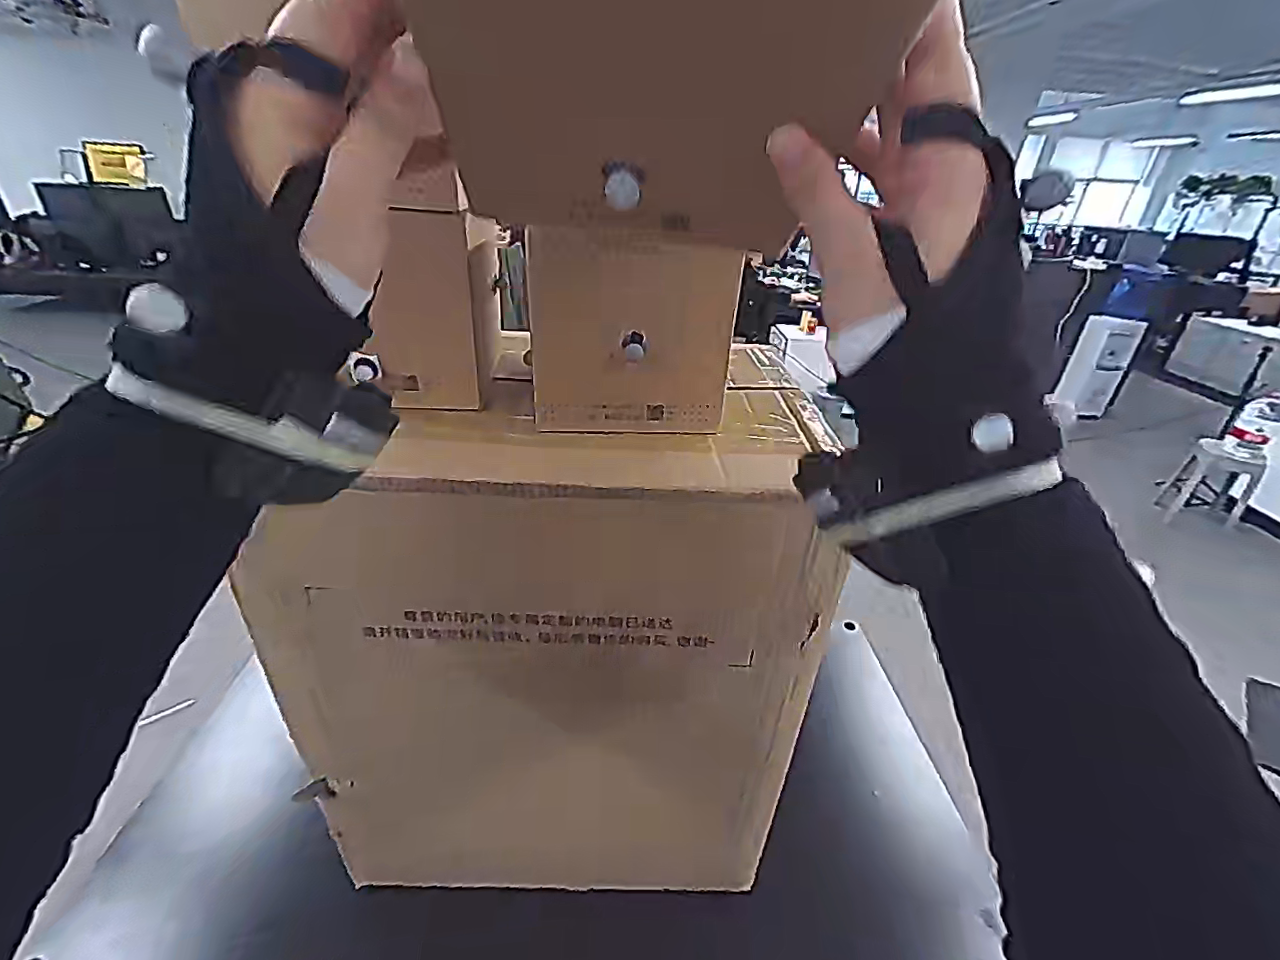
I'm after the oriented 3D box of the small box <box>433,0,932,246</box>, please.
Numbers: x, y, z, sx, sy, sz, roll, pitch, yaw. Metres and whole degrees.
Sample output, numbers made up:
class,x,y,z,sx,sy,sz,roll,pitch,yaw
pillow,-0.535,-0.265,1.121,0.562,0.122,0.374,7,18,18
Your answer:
class,x,y,z,sx,sy,sz,roll,pitch,yaw
small box,0.011,-0.229,0.218,0.168,0.179,0.176,5,-9,-5

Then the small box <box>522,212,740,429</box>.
class,x,y,z,sx,sy,sz,roll,pitch,yaw
small box,-0.012,-0.156,0.504,0.168,0.176,0.179,1,32,-5

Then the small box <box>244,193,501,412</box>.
class,x,y,z,sx,sy,sz,roll,pitch,yaw
small box,-0.227,-0.177,0.517,0.168,0.176,0.179,-1,31,-8

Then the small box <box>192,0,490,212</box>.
class,x,y,z,sx,sy,sz,roll,pitch,yaw
small box,-0.219,-0.318,0.433,0.168,0.176,0.179,1,30,-6
